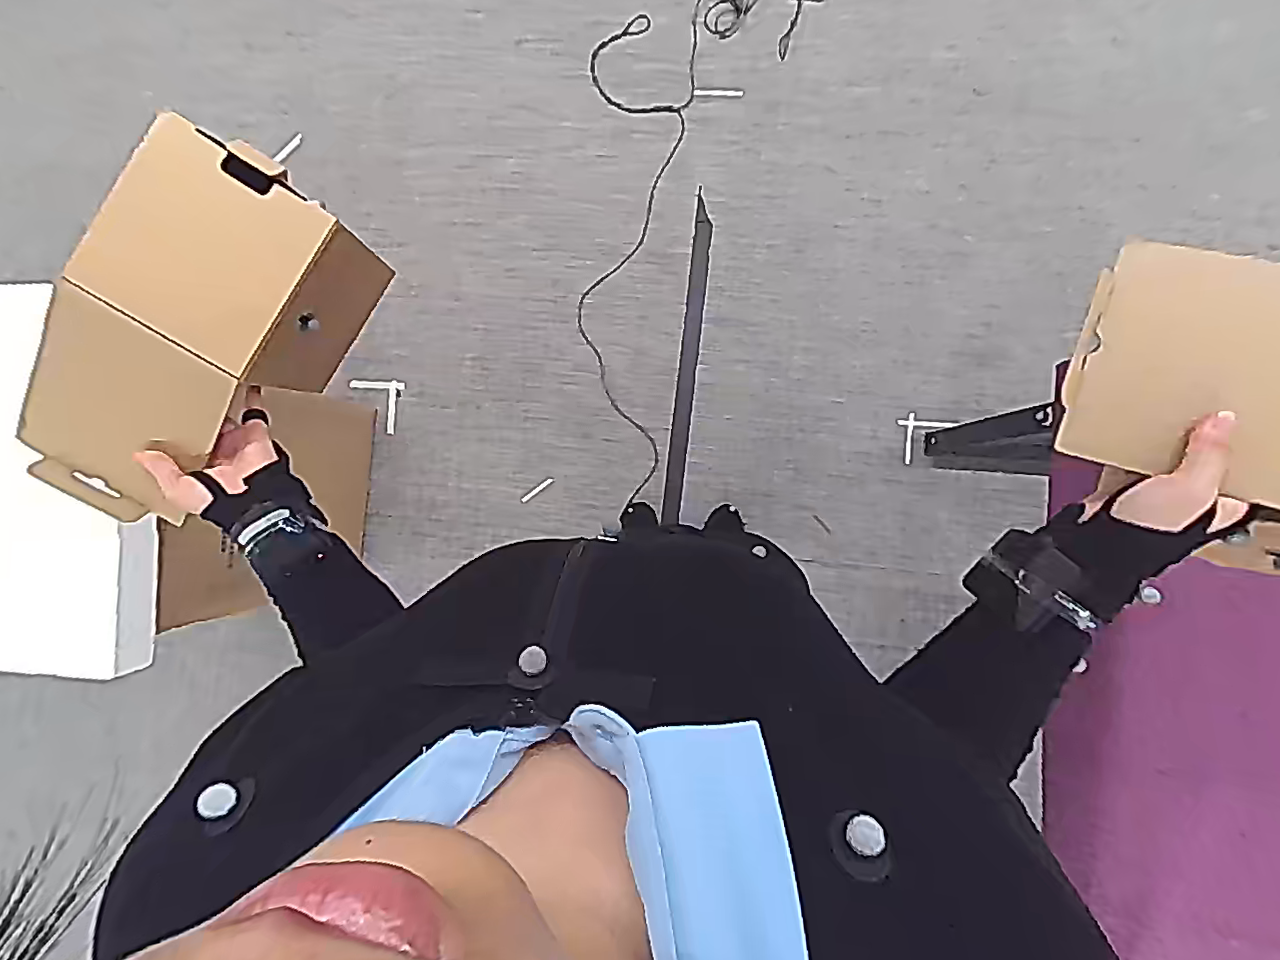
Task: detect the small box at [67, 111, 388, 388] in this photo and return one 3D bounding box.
[{"bbox_3d":[-0.393,-0.211,0.557,0.168,0.176,0.179,32,90,-9],"label":"small box"}]
